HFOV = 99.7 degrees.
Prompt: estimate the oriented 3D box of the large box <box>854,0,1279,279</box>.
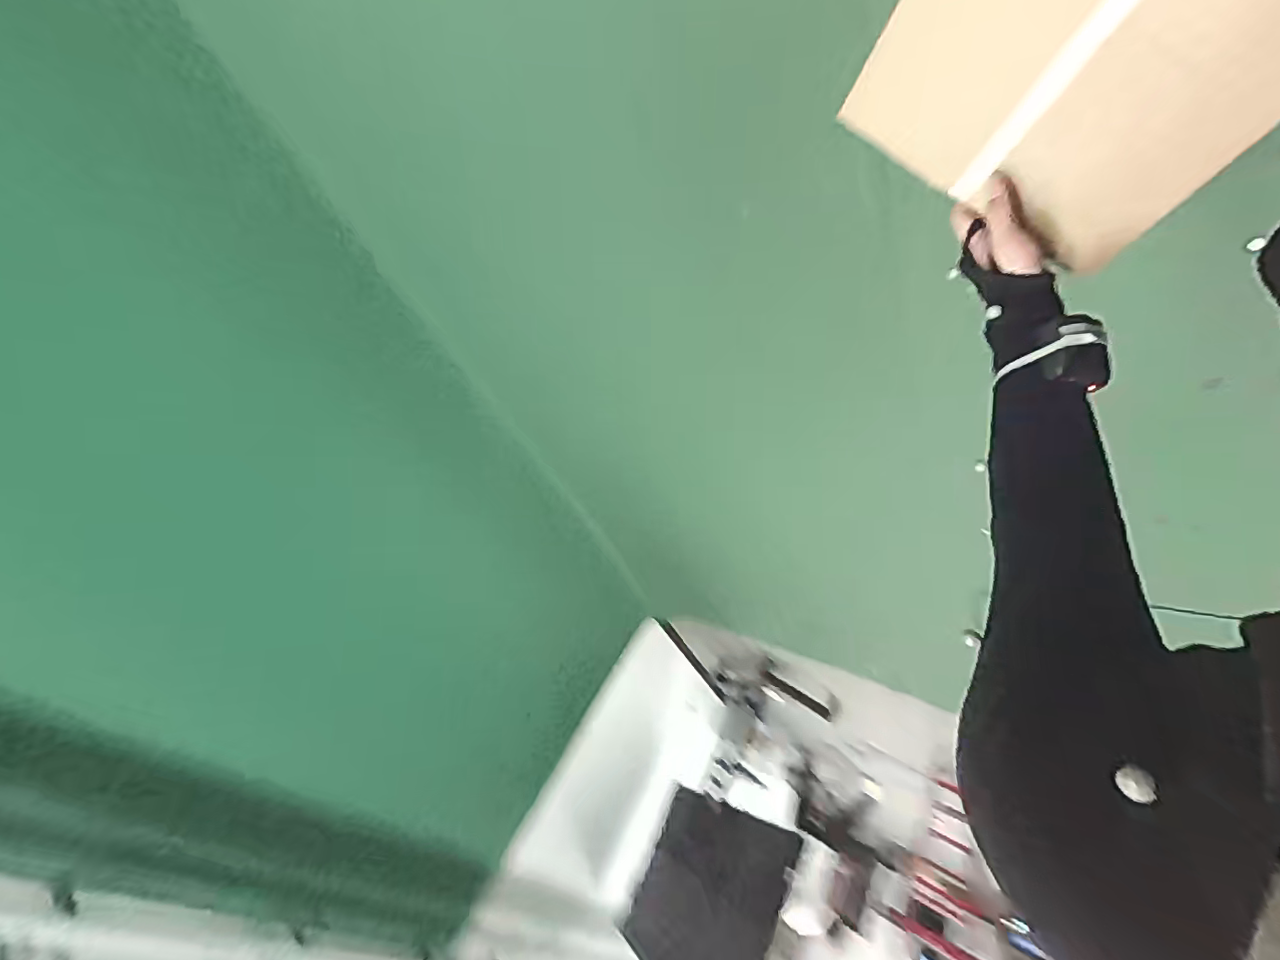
[{"bbox_3d":[0.486,-0.484,0.494,0.320,0.320,0.408,39,149,8],"label":"large box"}]
